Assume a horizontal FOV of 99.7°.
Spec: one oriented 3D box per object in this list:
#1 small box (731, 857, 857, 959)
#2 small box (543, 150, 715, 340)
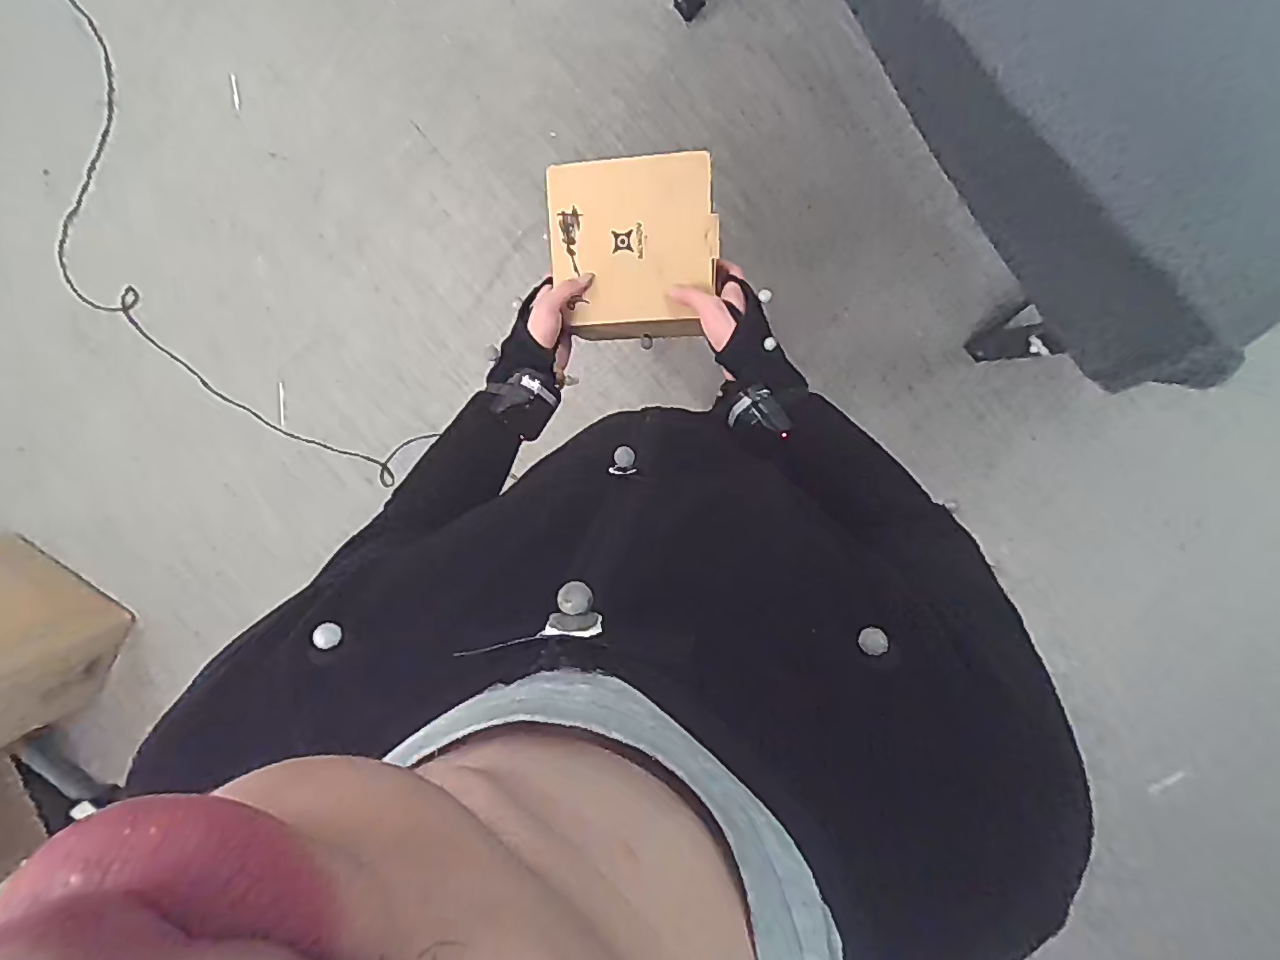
[{"bbox_3d":[0.282,0.848,0.986,0.179,0.176,0.168,-37,94,12],"label":"small box"},{"bbox_3d":[-0.005,-0.261,0.639,0.179,0.176,0.168,-1,97,6],"label":"small box"}]
